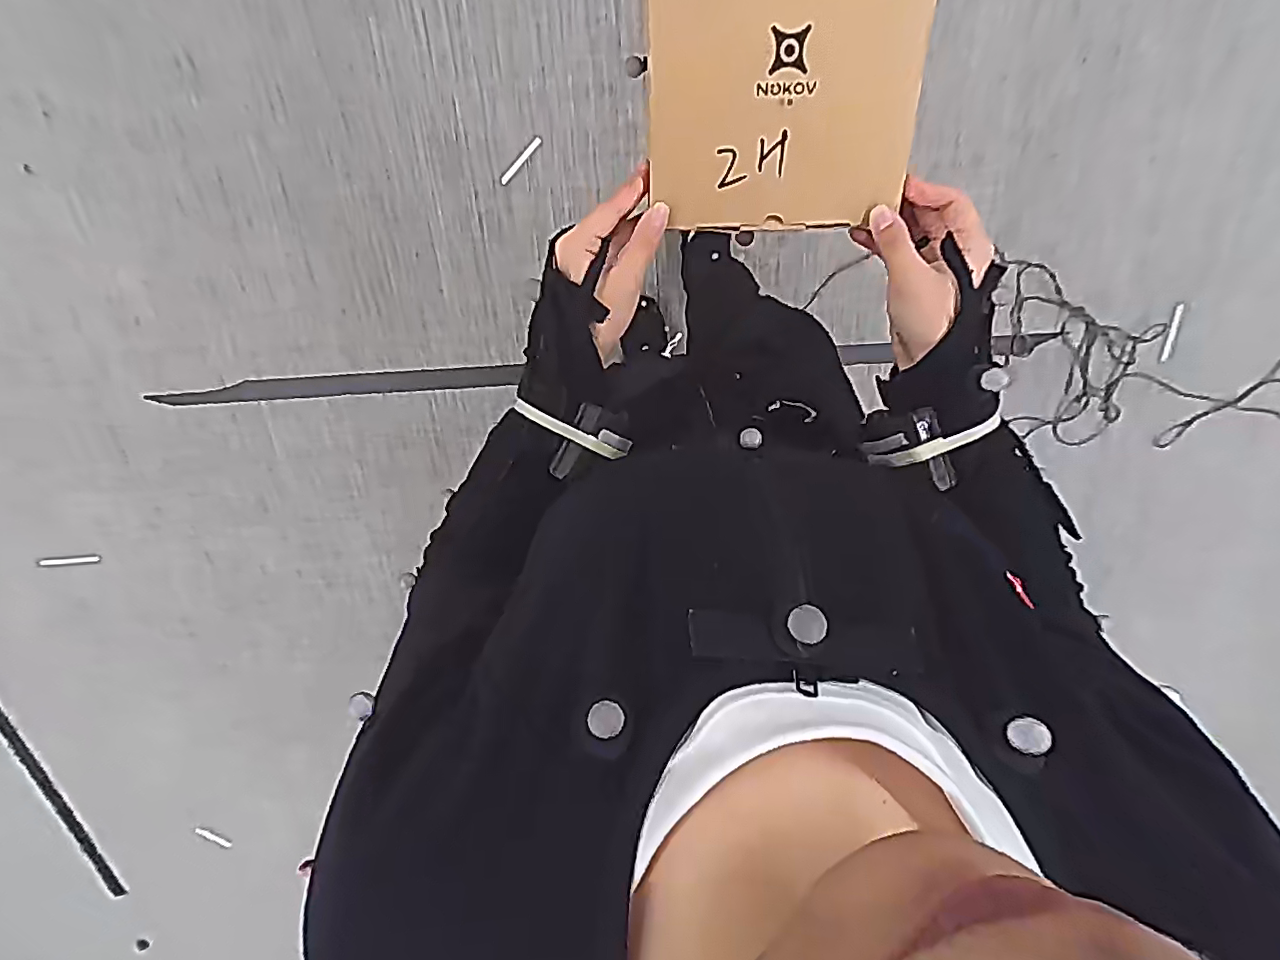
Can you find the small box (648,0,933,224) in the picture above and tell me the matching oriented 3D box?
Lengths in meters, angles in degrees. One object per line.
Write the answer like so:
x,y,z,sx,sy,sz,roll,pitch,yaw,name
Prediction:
0.090,-0.288,0.399,0.168,0.176,0.179,-1,117,2,small box
